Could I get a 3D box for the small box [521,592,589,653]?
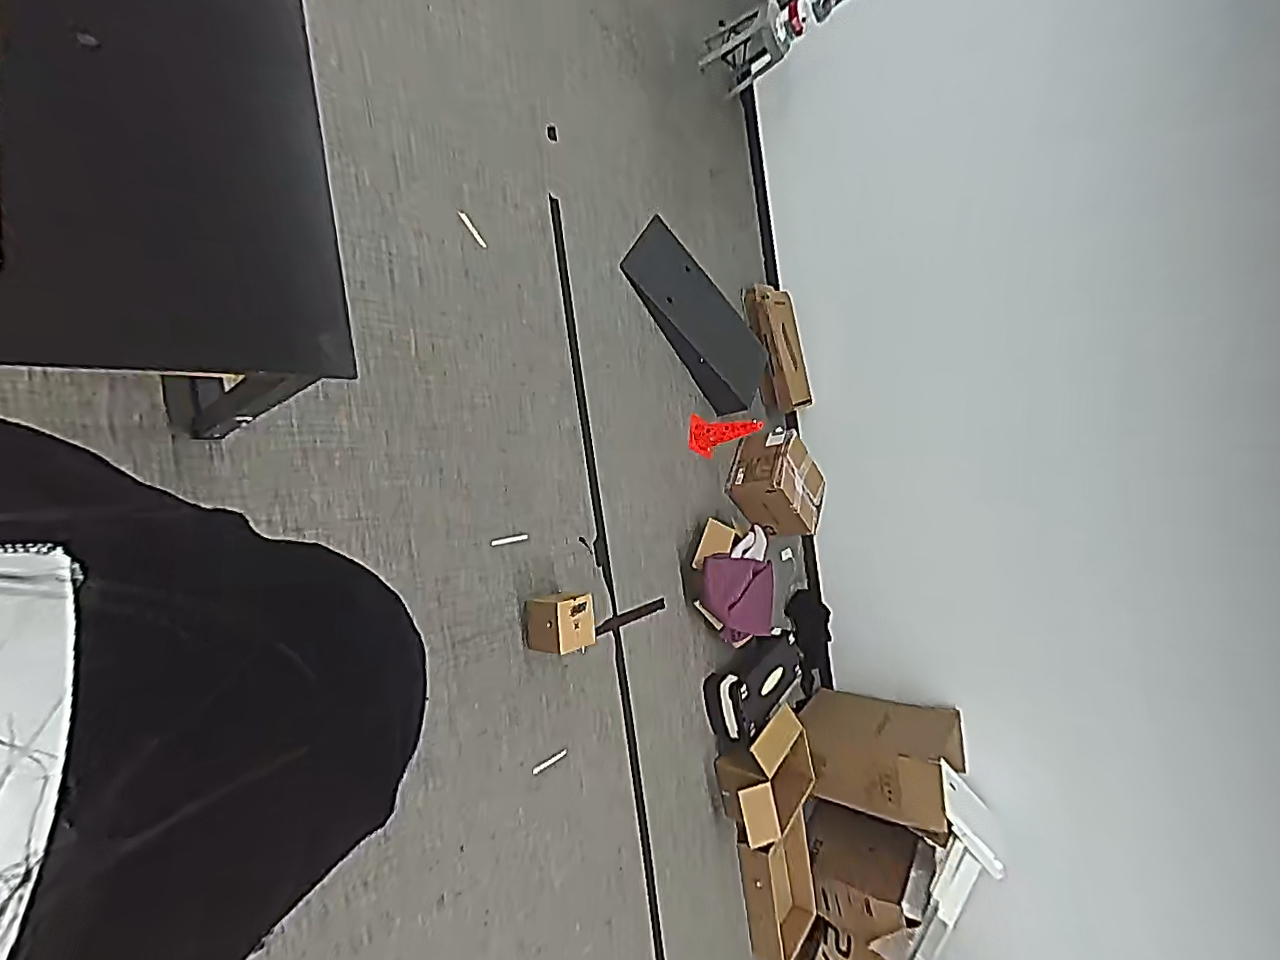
[{"bbox_3d":[-0.302,0.492,1.896,0.168,0.176,0.179,-2,87,-50],"label":"small box"}]
